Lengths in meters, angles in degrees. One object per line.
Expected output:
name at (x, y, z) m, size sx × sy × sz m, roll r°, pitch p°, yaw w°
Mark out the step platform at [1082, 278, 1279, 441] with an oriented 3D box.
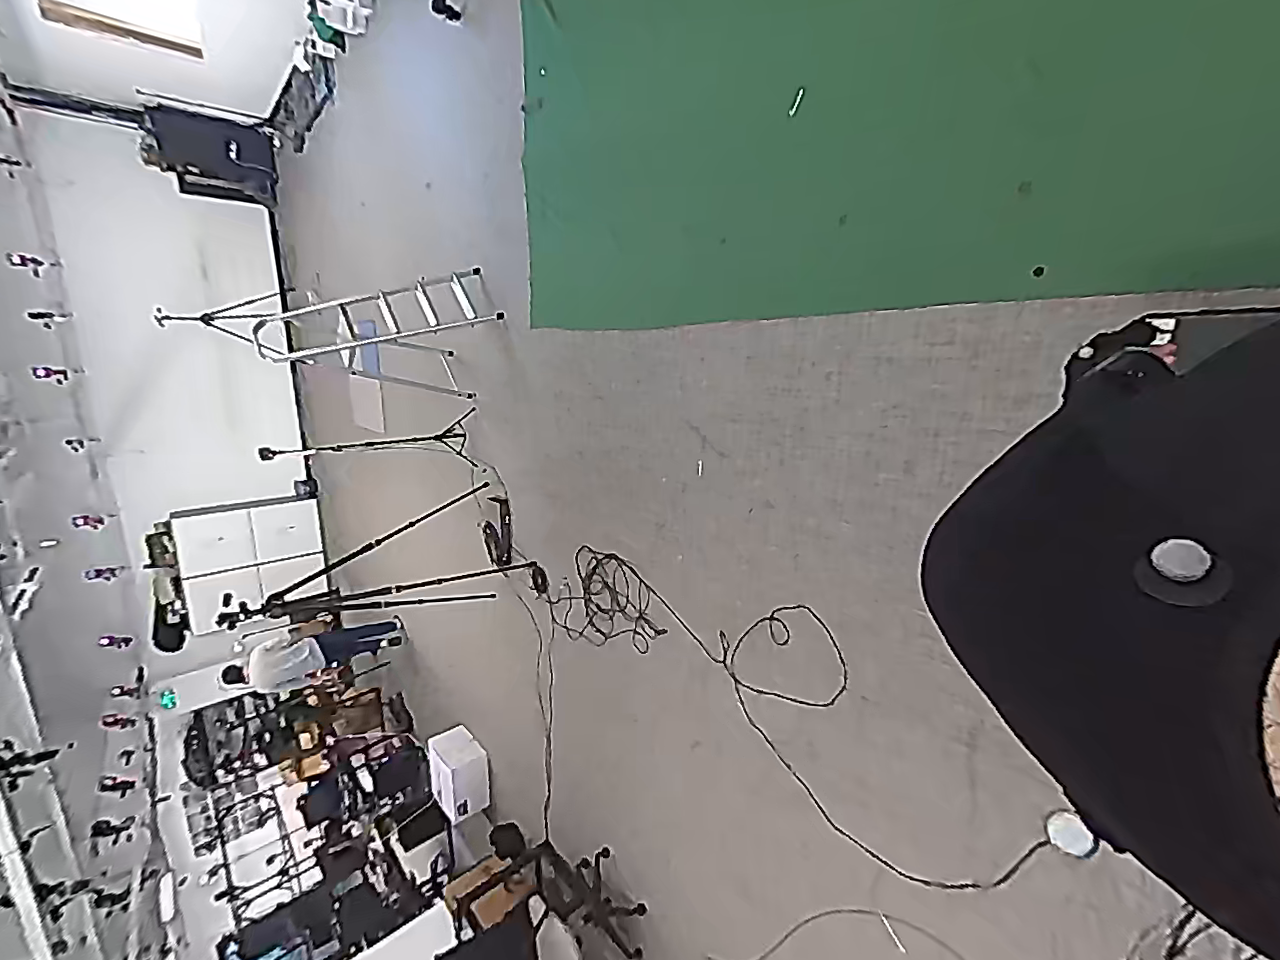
step platform at (1.144, -0.186, 0.840) m, size 0.684 × 0.204 × 0.286 m, roll 13°, pitch 109°, yaw 48°
